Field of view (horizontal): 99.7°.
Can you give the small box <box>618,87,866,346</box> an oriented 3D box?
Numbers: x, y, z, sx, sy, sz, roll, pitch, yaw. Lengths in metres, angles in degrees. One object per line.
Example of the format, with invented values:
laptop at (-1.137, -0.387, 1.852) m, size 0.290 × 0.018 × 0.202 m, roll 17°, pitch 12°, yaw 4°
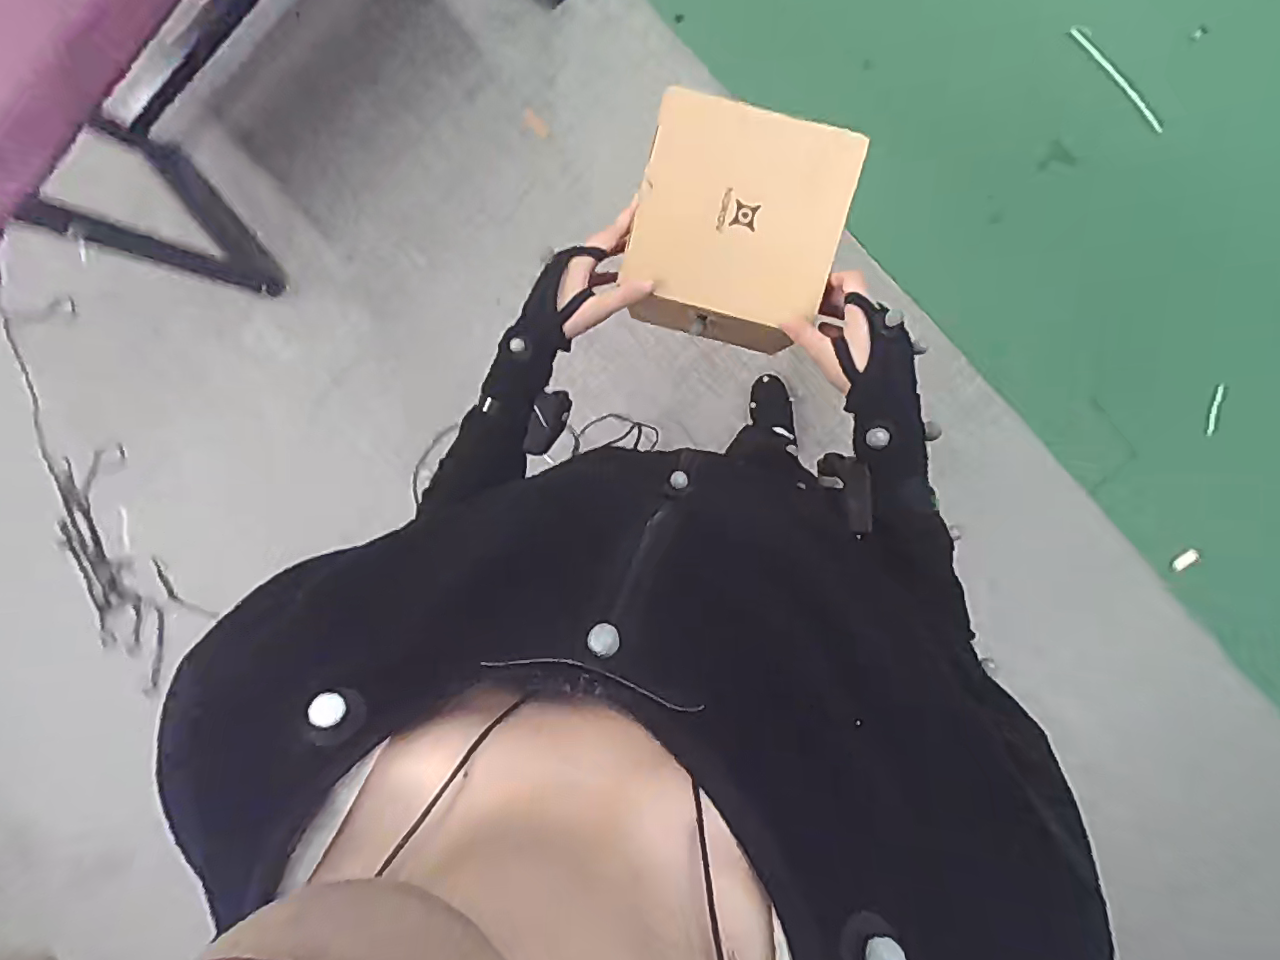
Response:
small box at (0.089, -0.237, 0.535) m, size 0.179 × 0.176 × 0.168 m, roll 15°, pitch 98°, yaw 2°
